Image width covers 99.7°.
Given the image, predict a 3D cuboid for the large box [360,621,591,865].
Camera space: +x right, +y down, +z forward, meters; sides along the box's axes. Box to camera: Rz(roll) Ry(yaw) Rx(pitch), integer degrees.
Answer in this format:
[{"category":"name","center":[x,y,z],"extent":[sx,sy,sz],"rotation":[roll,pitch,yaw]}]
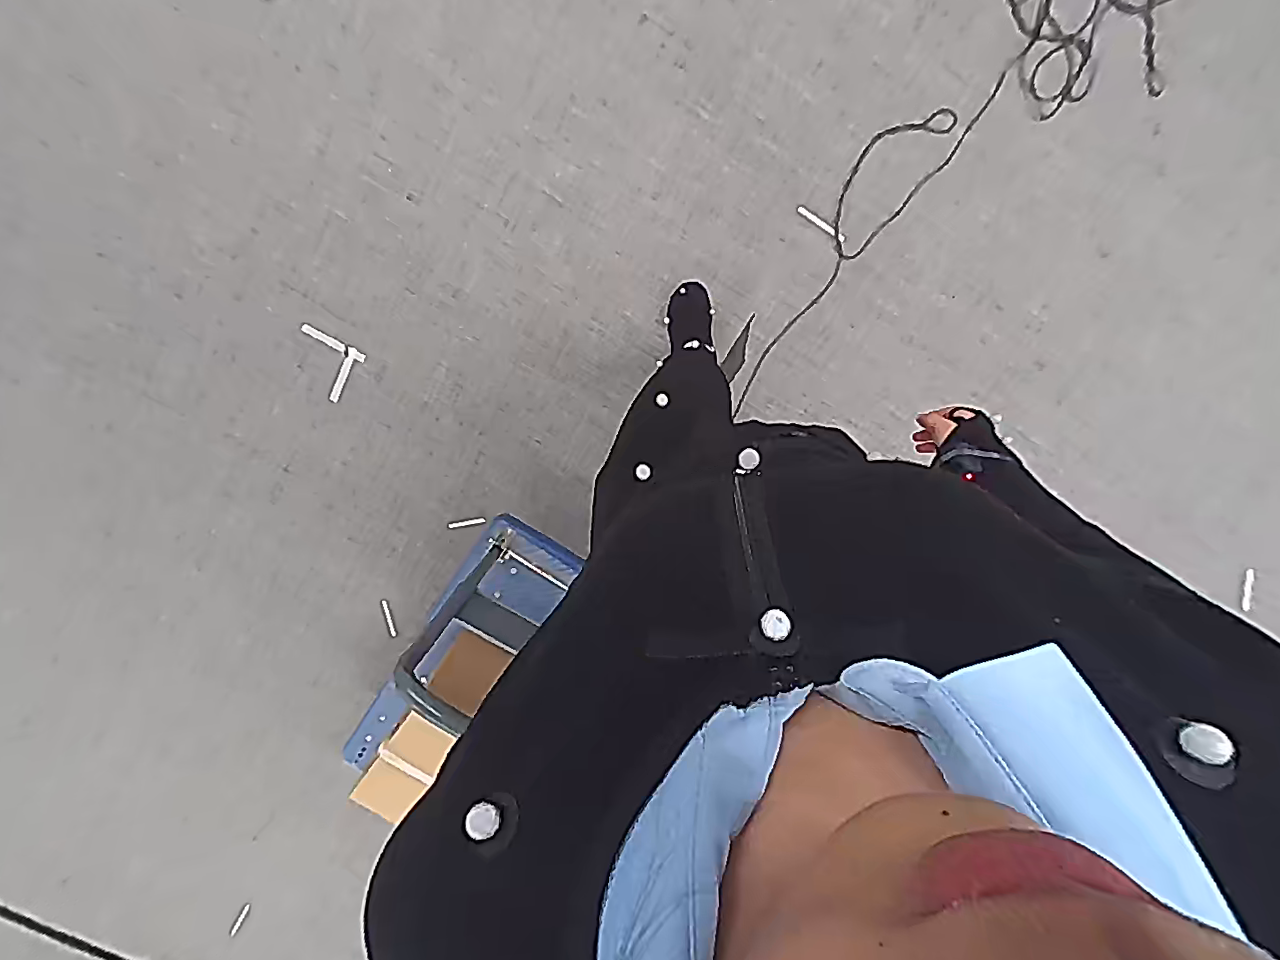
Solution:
[{"category":"large box","center":[-0.375,0.625,1.333],"extent":[0.408,0.320,0.320],"rotation":[35,102,-9]}]
